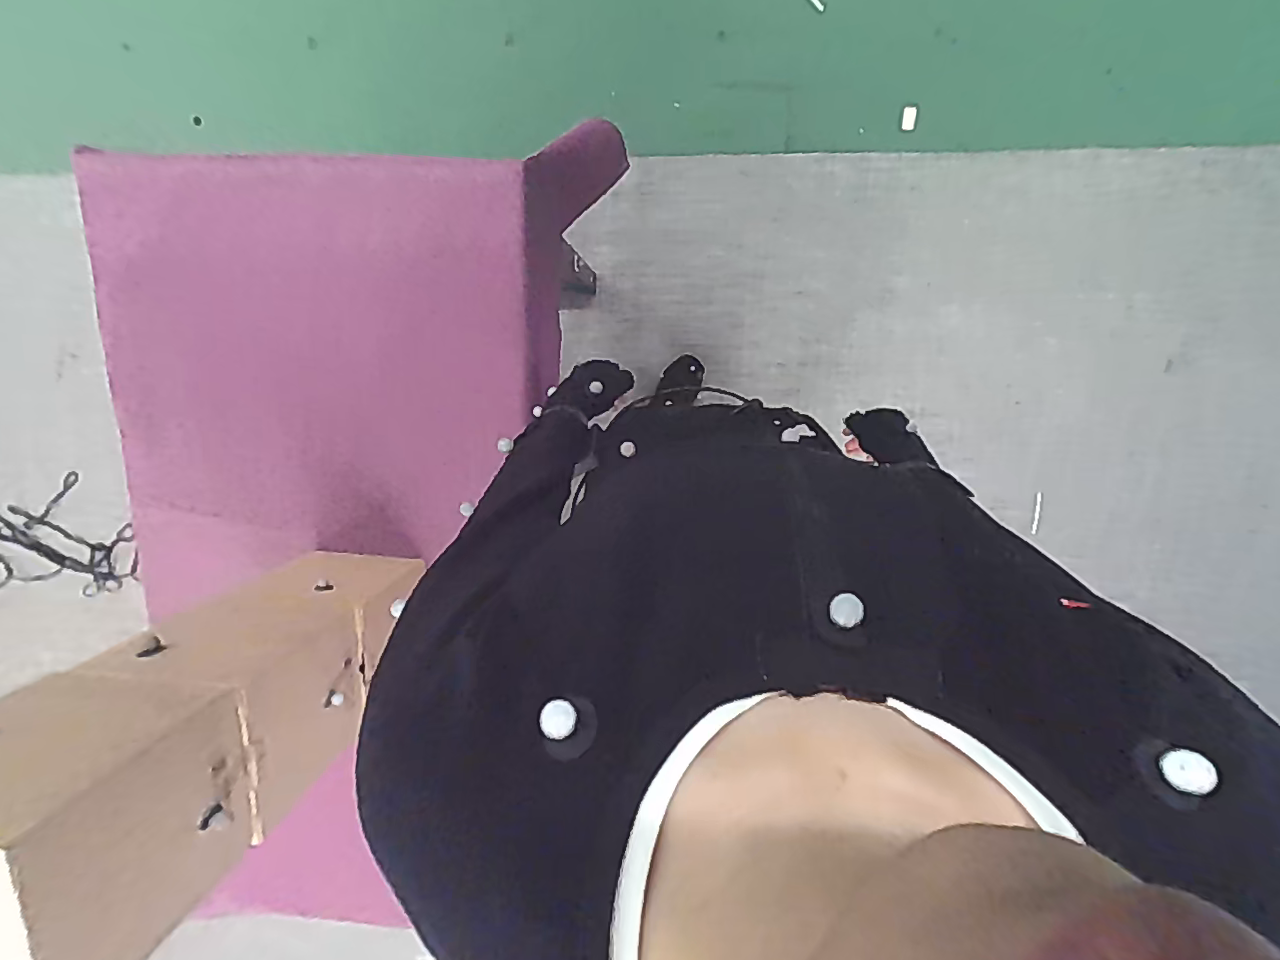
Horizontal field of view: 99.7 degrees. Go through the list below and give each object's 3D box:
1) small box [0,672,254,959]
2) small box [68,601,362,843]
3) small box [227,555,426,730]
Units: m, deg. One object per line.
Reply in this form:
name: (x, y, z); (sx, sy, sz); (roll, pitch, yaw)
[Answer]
small box: (-0.445, 0.267, 0.414); (0.179, 0.176, 0.168); (3, 101, 4)
small box: (-0.428, 0.239, 0.574); (0.179, 0.176, 0.168); (3, 101, 4)
small box: (-0.407, 0.208, 0.735); (0.179, 0.176, 0.168); (4, 100, 5)
